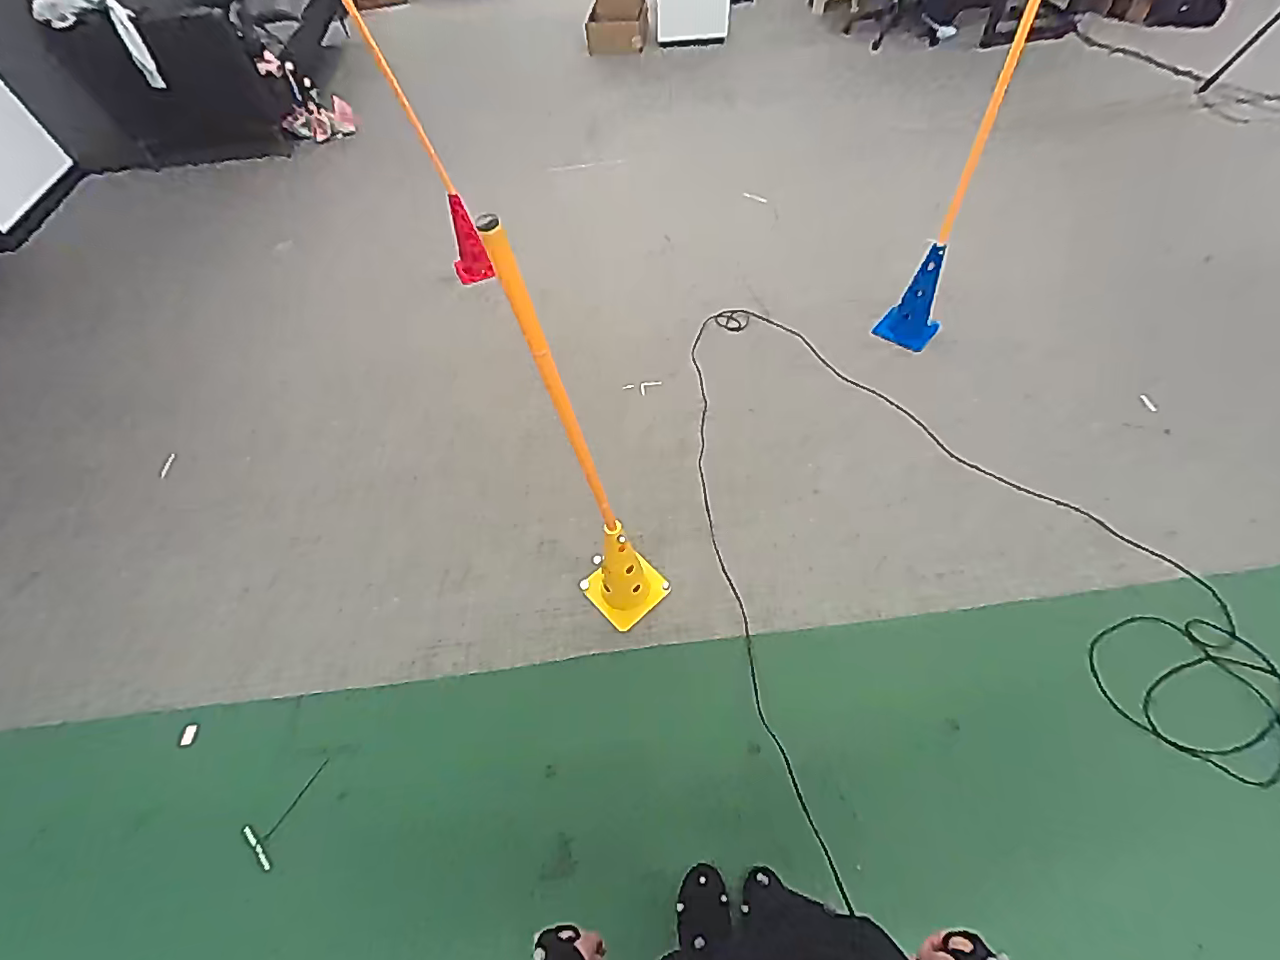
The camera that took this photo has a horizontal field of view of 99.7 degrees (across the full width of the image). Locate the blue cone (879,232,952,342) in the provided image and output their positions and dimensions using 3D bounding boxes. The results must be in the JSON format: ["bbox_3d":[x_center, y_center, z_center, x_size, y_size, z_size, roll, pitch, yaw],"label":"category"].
[{"bbox_3d":[1.031,-0.713,1.964,0.192,0.380,0.193,32,62,24],"label":"blue cone"}]
